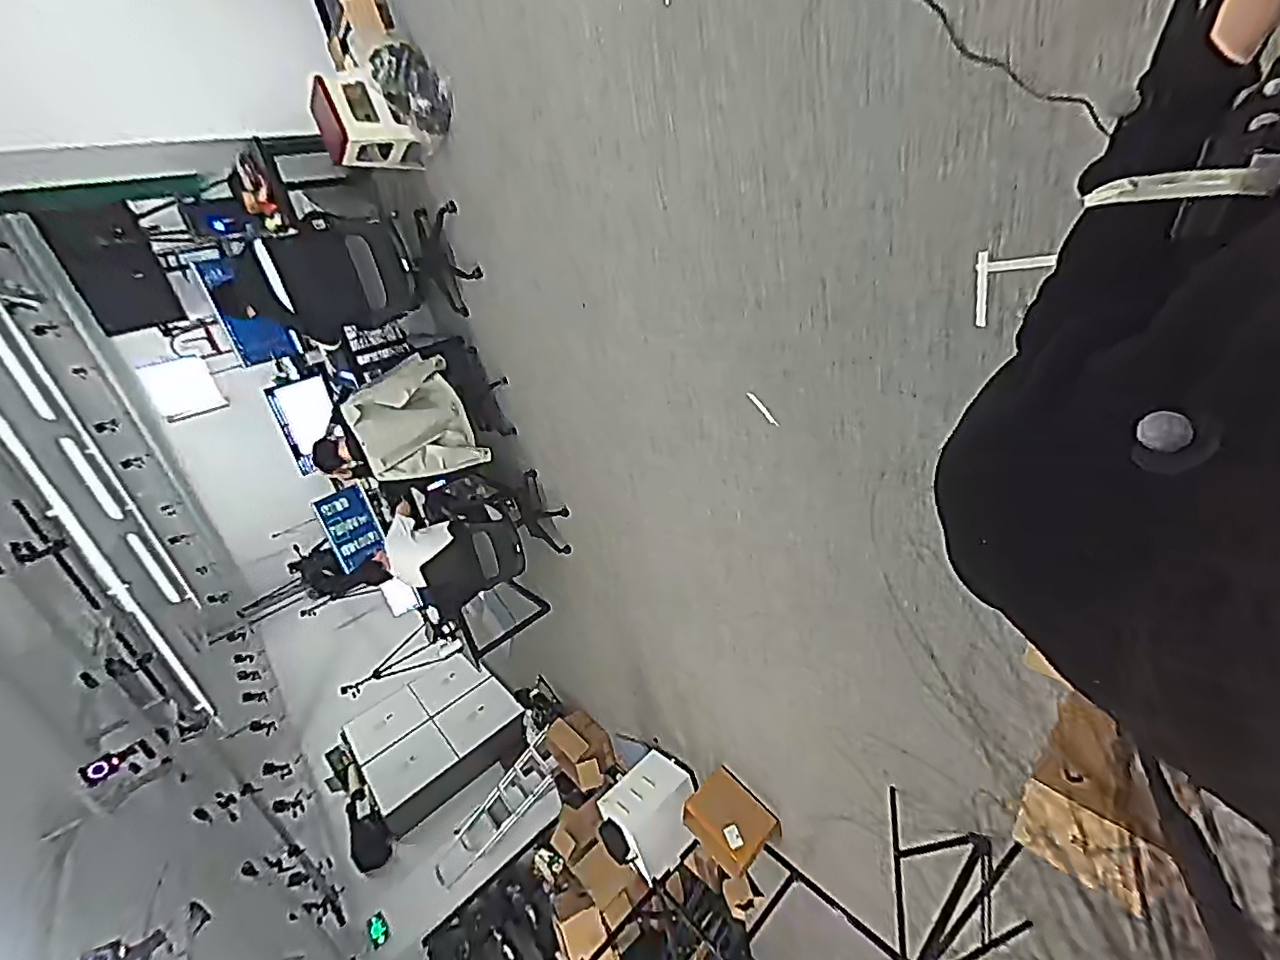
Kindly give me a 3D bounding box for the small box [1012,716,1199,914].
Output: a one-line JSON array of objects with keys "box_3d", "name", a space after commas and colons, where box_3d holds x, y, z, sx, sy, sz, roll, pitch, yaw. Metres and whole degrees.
[{"box_3d": [0.732, 0.512, 0.858, 0.179, 0.176, 0.168, 21, 130, 44], "name": "small box"}]
